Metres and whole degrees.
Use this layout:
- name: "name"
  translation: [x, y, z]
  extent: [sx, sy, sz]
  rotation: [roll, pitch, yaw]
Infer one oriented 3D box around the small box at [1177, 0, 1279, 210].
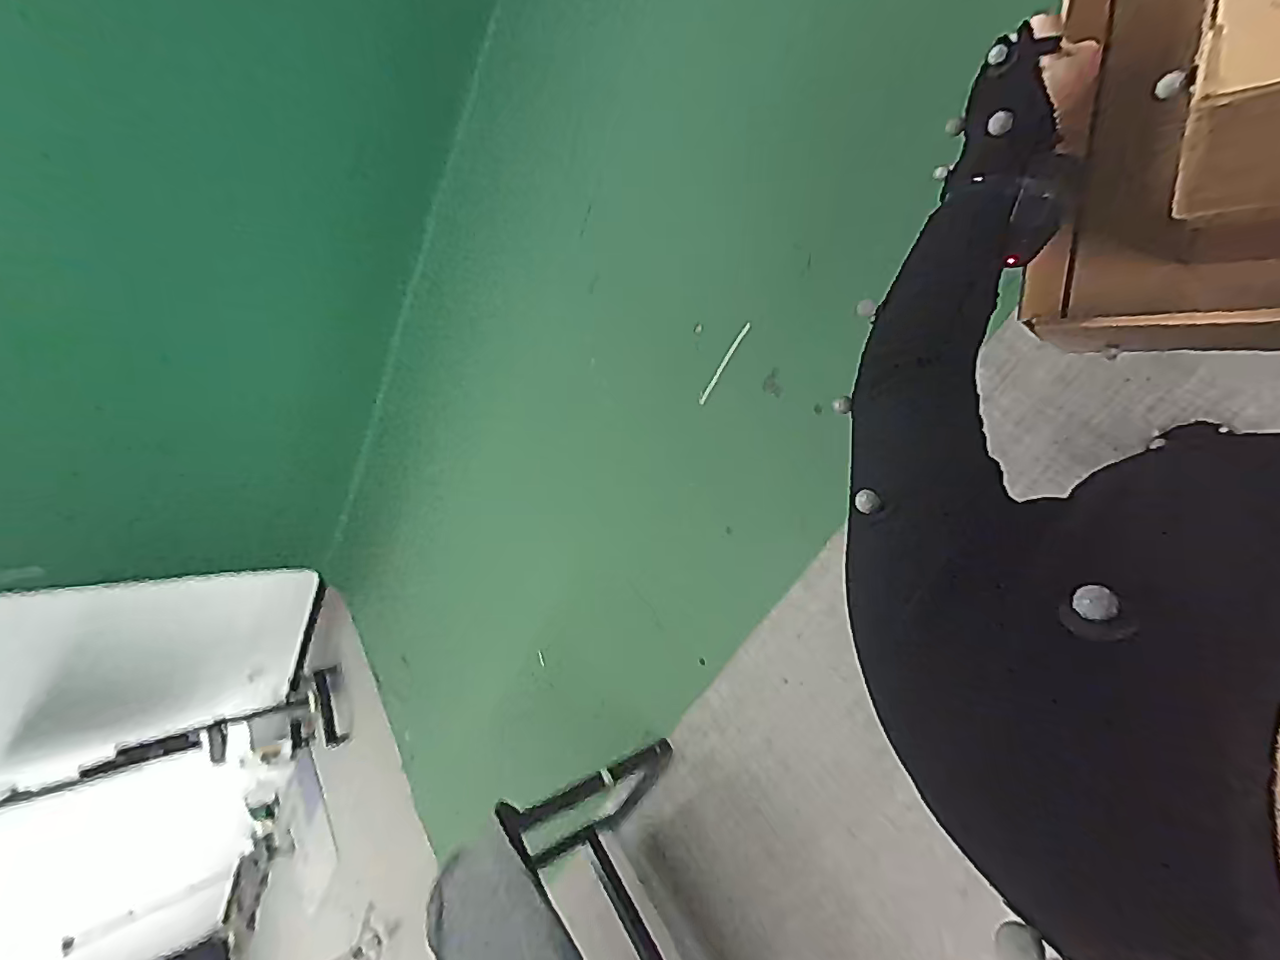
- name: "small box"
  translation: [0.375, -0.244, 0.242]
  extent: [0.179, 0.176, 0.168]
  rotation: [7, 99, 41]
